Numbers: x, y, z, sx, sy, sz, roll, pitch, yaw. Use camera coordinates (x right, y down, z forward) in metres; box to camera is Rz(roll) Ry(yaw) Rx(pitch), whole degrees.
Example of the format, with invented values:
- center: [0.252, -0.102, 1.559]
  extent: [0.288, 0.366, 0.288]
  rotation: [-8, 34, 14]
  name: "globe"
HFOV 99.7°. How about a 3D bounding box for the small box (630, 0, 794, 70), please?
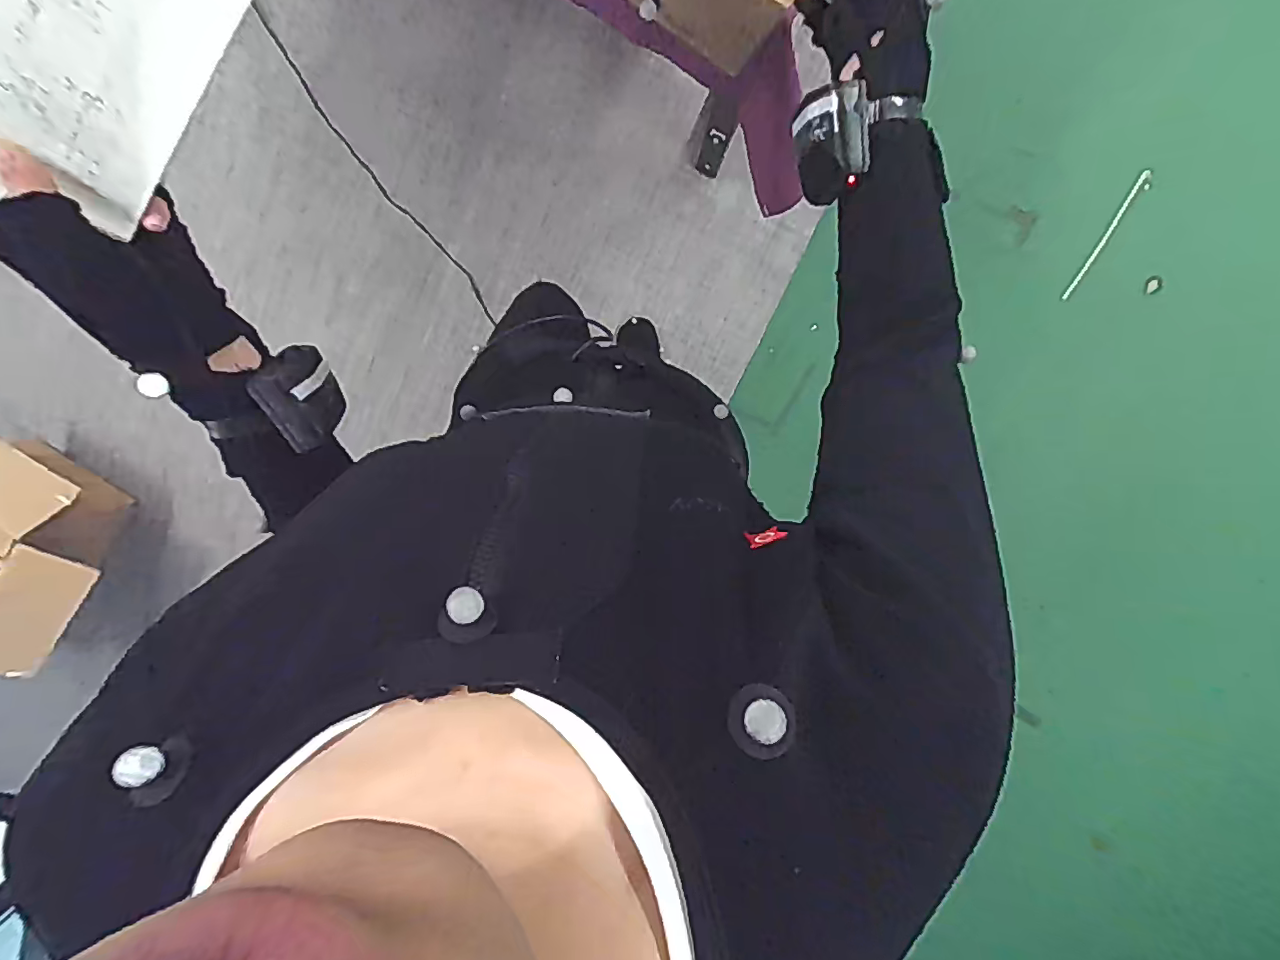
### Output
- center: [0.073, -0.481, 0.426]
  extent: [0.168, 0.176, 0.179]
  rotation: [26, 108, -15]
  name: "small box"
